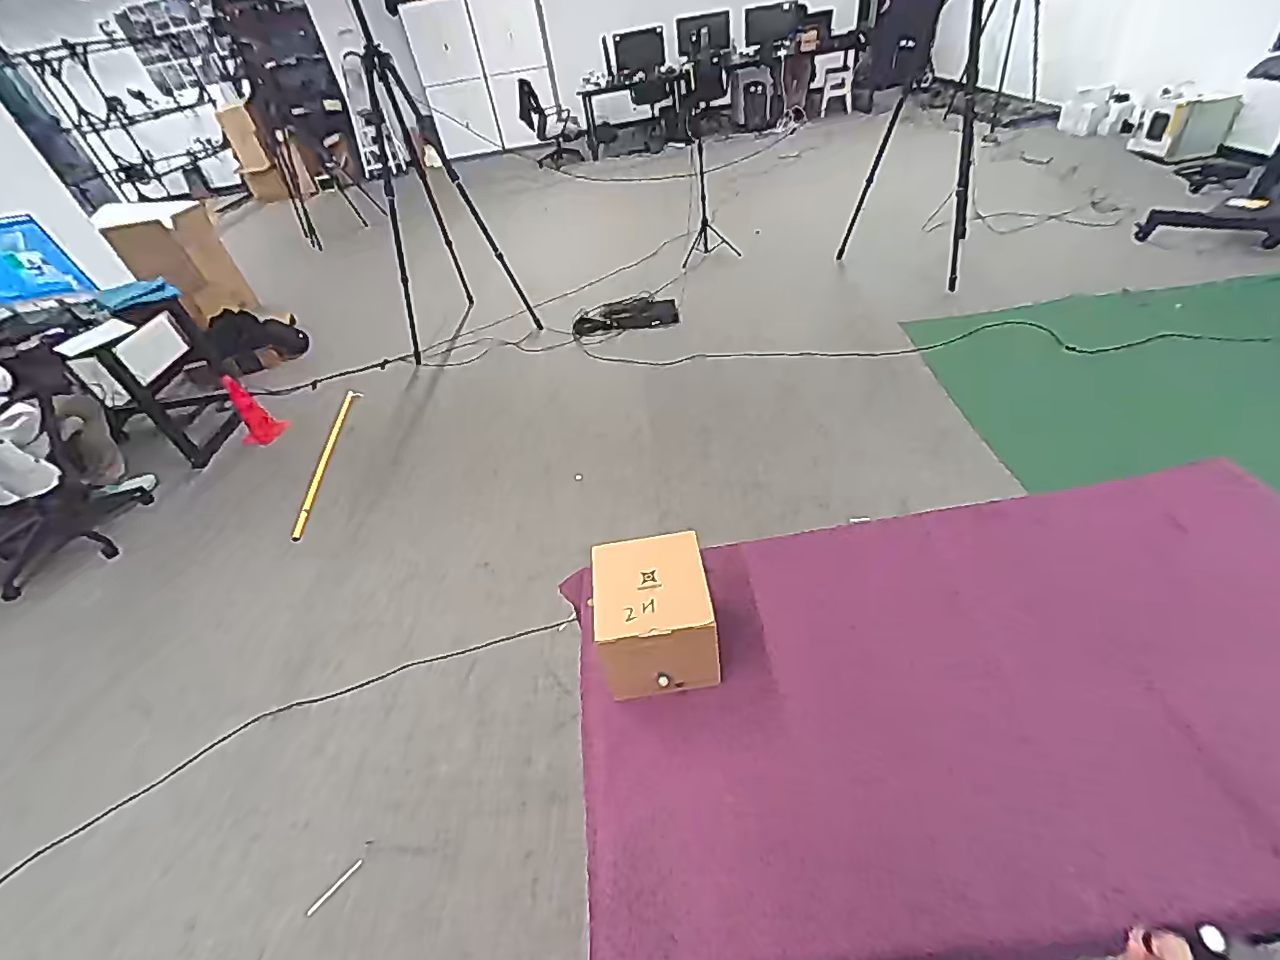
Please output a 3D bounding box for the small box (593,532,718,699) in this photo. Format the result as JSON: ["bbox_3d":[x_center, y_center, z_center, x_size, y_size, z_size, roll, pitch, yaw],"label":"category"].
[{"bbox_3d":[0.023,0.210,0.838,0.168,0.176,0.179,-10,41,2],"label":"small box"}]
